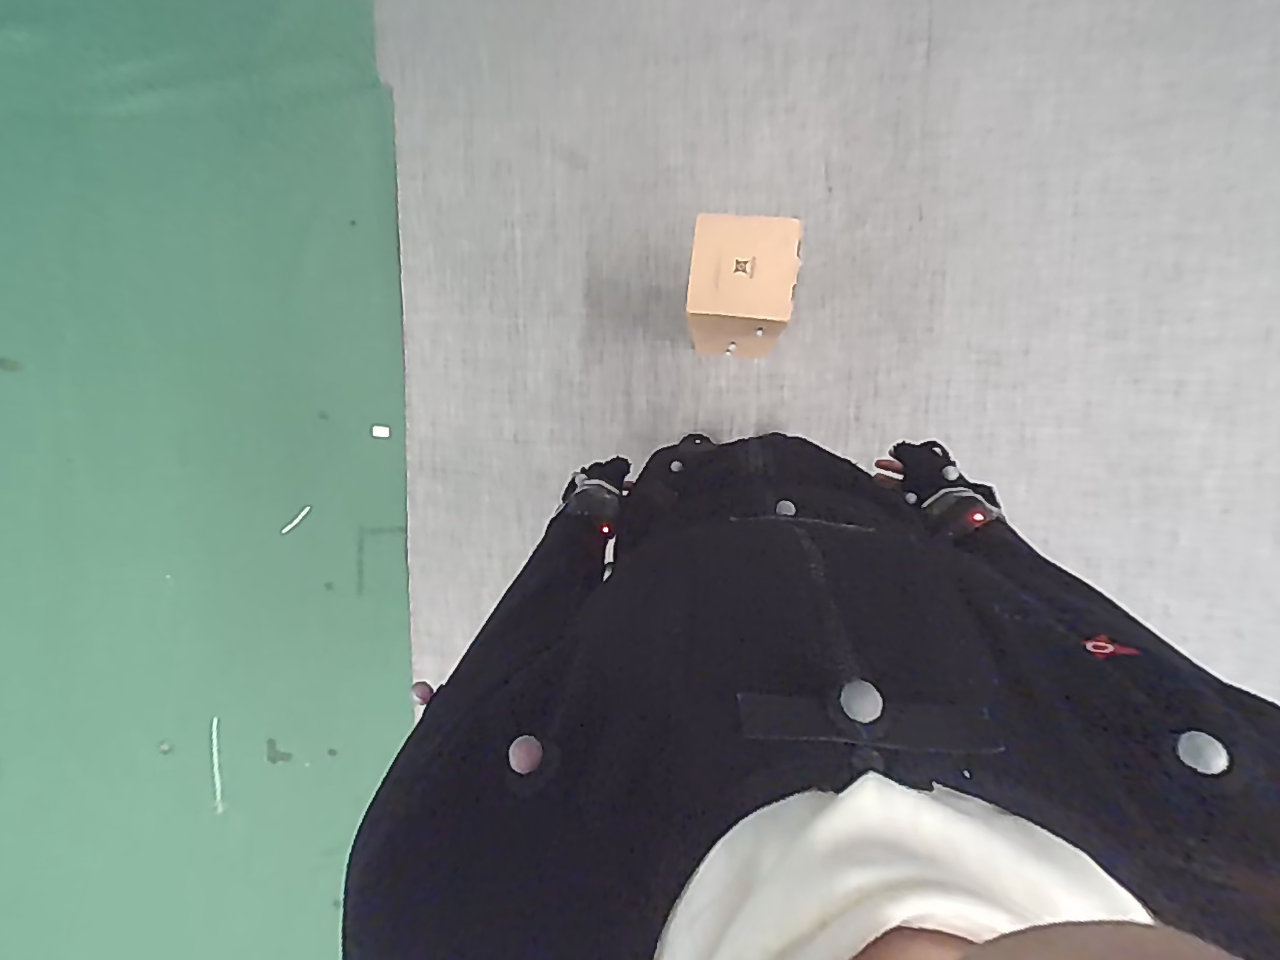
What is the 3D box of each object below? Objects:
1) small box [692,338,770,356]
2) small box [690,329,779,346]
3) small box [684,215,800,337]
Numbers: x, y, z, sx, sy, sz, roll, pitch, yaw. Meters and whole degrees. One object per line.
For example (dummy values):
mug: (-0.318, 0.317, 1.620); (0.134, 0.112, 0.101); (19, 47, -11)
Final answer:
small box: (0.223, -0.395, 1.298); (0.179, 0.176, 0.168); (6, 96, 8)
small box: (0.202, -0.378, 1.139); (0.179, 0.176, 0.168); (4, 98, 8)
small box: (0.178, -0.359, 0.977); (0.179, 0.176, 0.168); (6, 95, 8)
